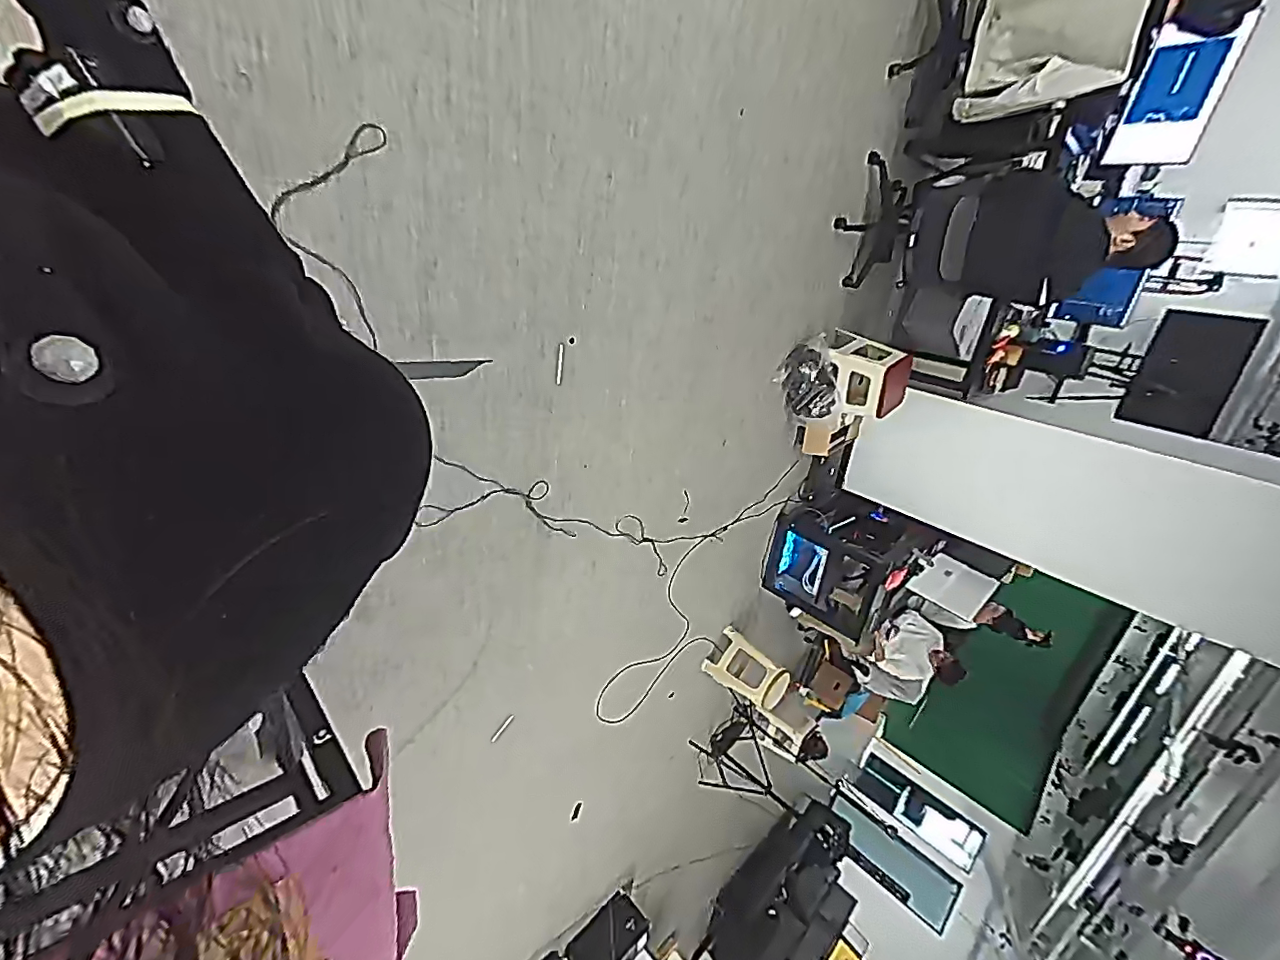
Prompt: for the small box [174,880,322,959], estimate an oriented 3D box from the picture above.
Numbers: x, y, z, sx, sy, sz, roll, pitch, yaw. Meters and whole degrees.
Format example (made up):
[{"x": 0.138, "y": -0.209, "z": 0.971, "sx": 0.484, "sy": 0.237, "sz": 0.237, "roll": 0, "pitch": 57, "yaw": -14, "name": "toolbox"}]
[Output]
[{"x": -0.627, "y": 0.816, "z": 0.884, "sx": 0.168, "sy": 0.176, "sz": 0.179, "roll": -19, "pitch": 125, "yaw": -42, "name": "small box"}]
